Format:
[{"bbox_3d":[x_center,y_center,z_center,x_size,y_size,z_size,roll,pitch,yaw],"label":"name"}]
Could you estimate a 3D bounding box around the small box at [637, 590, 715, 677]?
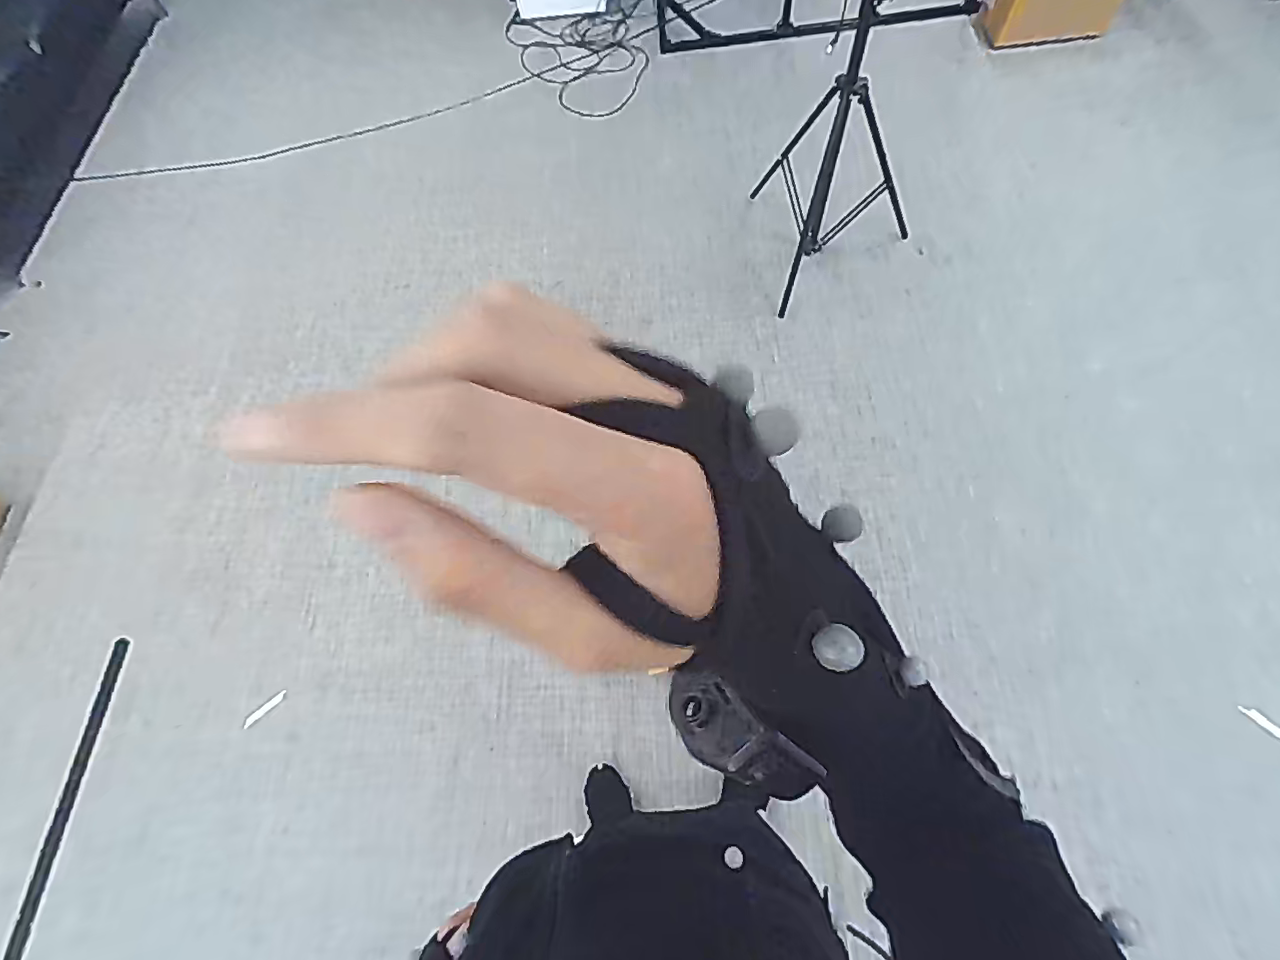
[{"bbox_3d":[0.095,0.408,1.425,0.168,0.176,0.179,-14,66,1],"label":"small box"}]
